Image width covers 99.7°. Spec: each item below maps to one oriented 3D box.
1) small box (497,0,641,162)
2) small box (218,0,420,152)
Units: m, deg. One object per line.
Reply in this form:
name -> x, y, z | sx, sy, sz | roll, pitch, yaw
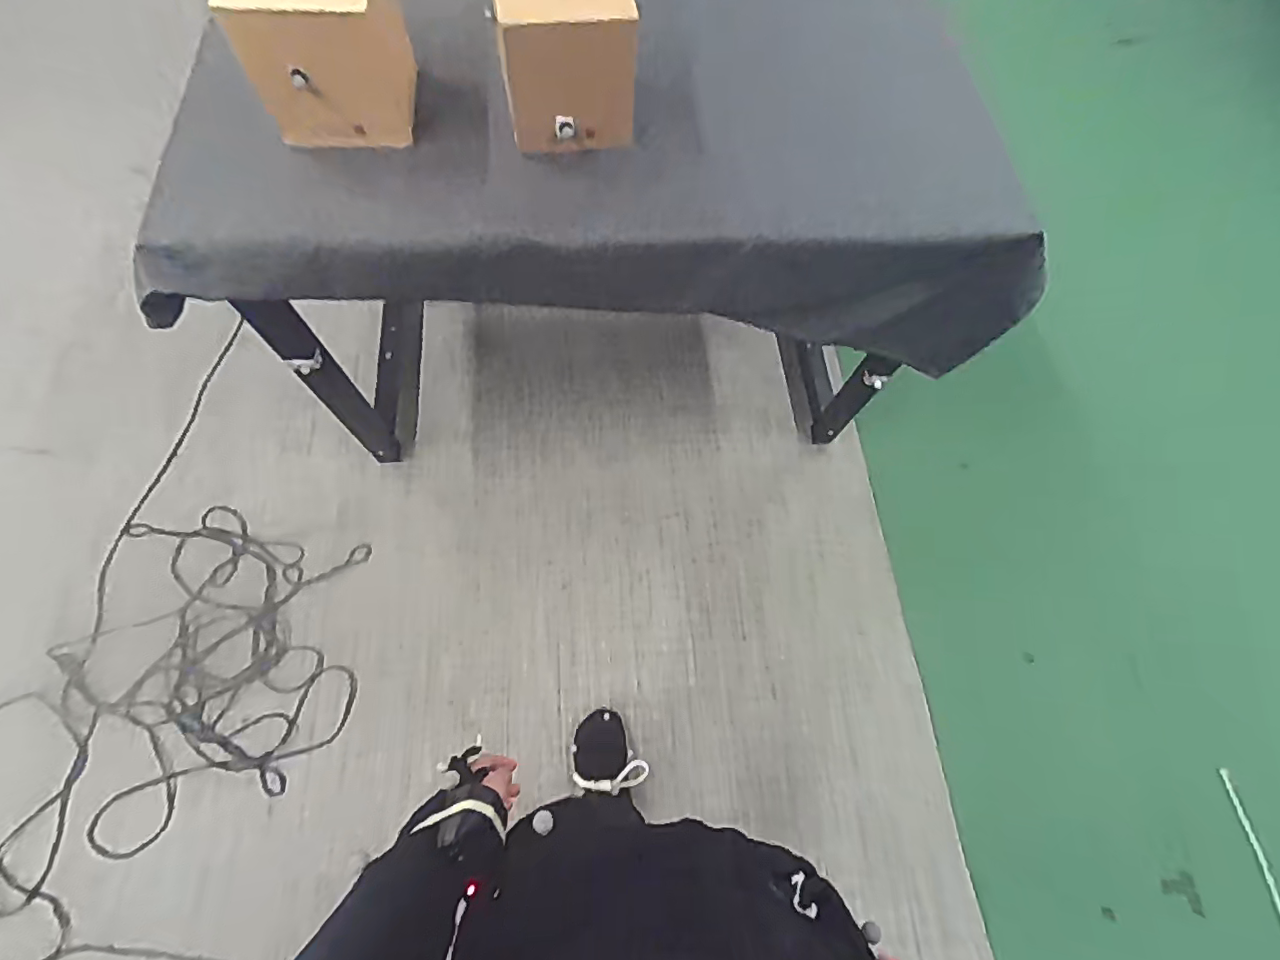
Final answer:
small box -> -0.100, -0.573, 0.737 | 0.168, 0.176, 0.179 | -10, 69, -8
small box -> -0.397, -0.559, 0.705 | 0.168, 0.176, 0.179 | -4, 67, -7
